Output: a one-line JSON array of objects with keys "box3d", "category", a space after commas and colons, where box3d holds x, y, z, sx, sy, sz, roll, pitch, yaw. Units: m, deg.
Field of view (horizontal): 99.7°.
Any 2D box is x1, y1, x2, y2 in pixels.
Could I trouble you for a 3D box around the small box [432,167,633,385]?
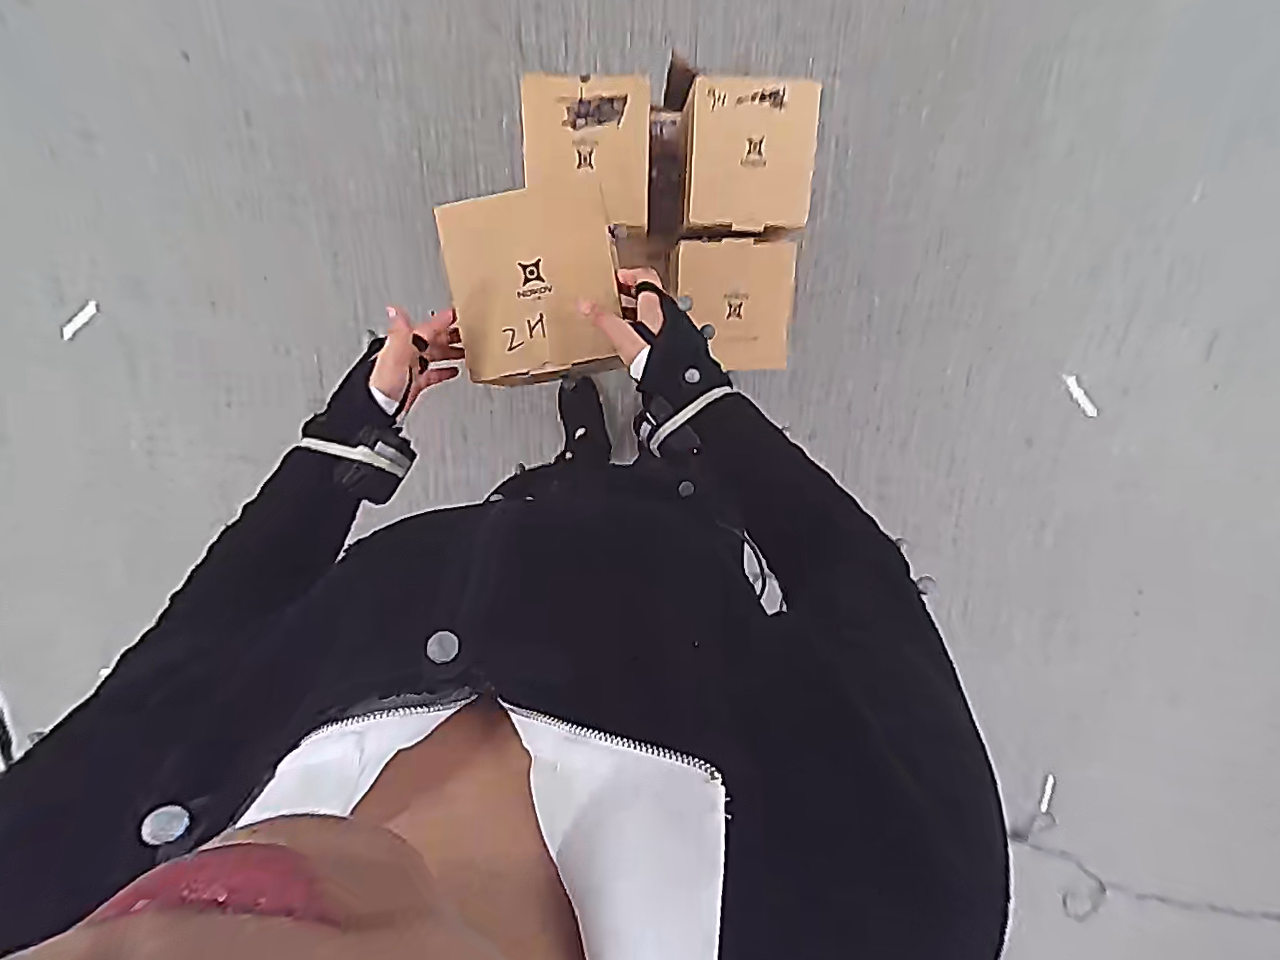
[{"box3d": [-0.103, -0.207, 0.599, 0.168, 0.176, 0.179, -9, 97, 4], "category": "small box"}]
